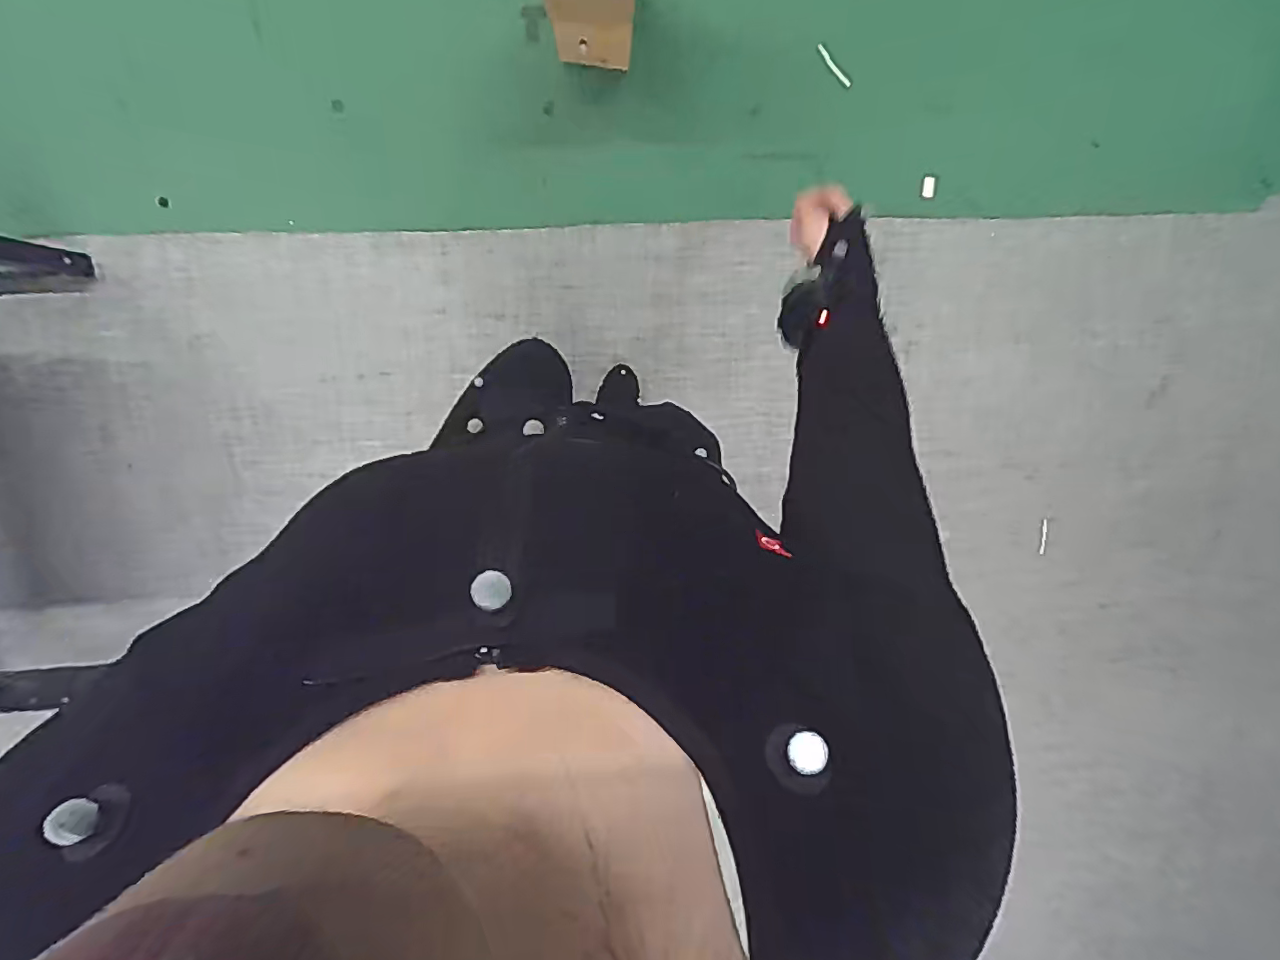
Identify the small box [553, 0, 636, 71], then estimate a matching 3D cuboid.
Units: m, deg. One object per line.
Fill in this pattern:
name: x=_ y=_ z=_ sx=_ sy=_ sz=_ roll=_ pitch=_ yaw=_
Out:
small box: x=-0.095 y=-1.043 z=1.188 sx=0.168 sy=0.176 sz=0.179 roll=5 pitch=101 yaw=-4
